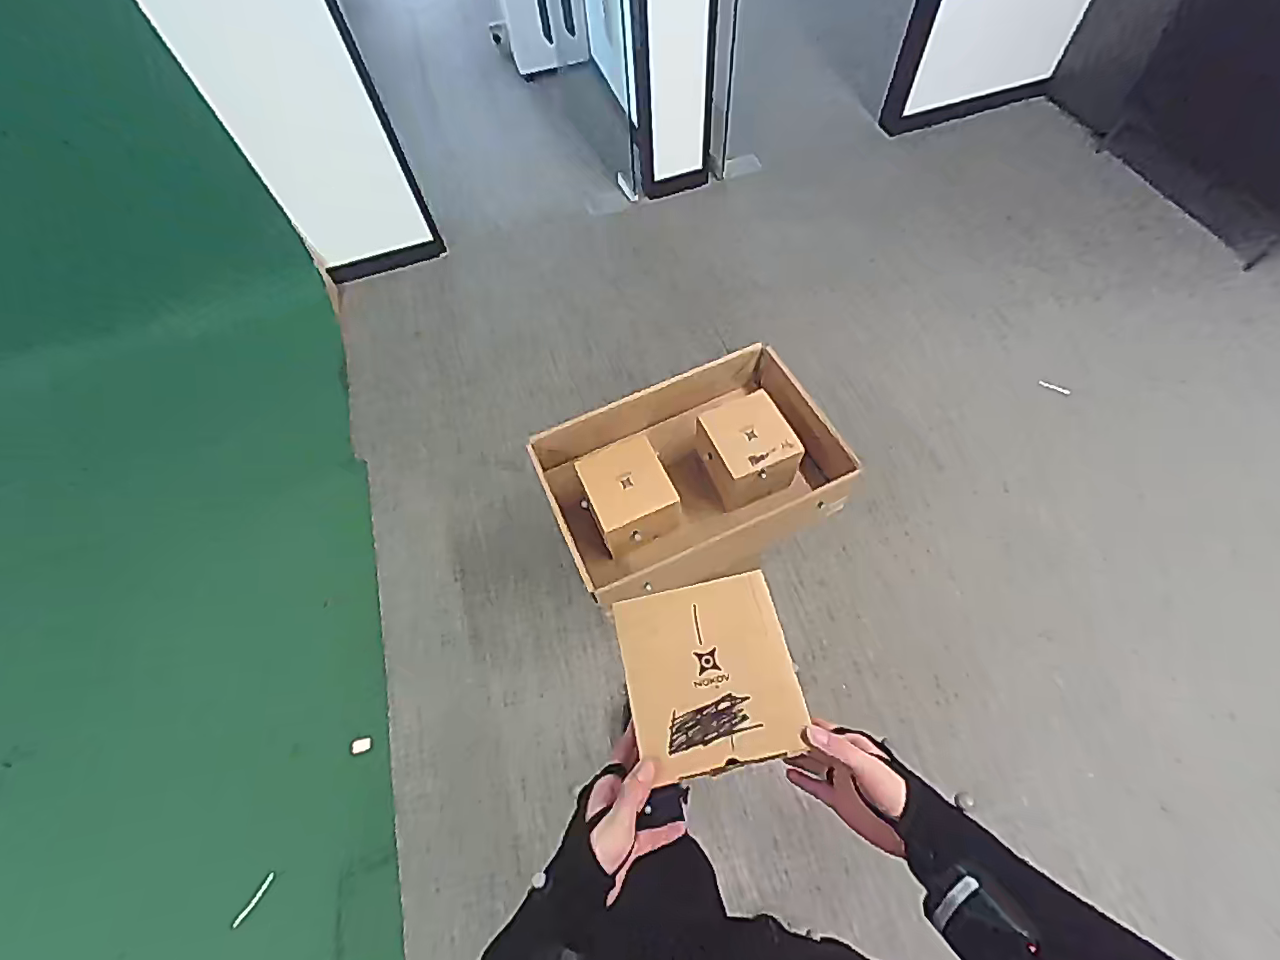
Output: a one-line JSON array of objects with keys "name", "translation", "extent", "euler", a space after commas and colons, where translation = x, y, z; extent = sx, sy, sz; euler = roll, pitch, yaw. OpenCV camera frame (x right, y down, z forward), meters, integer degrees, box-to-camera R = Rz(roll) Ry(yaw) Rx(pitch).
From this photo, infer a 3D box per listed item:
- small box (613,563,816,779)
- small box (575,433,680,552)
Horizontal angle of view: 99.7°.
[{"name": "small box", "translation": [0.072, 0.212, 0.595], "extent": [0.168, 0.176, 0.179], "euler": [-12, 63, -2]}, {"name": "small box", "translation": [-0.021, 0.037, 1.155], "extent": [0.168, 0.176, 0.179], "euler": [-23, 62, -8]}]
